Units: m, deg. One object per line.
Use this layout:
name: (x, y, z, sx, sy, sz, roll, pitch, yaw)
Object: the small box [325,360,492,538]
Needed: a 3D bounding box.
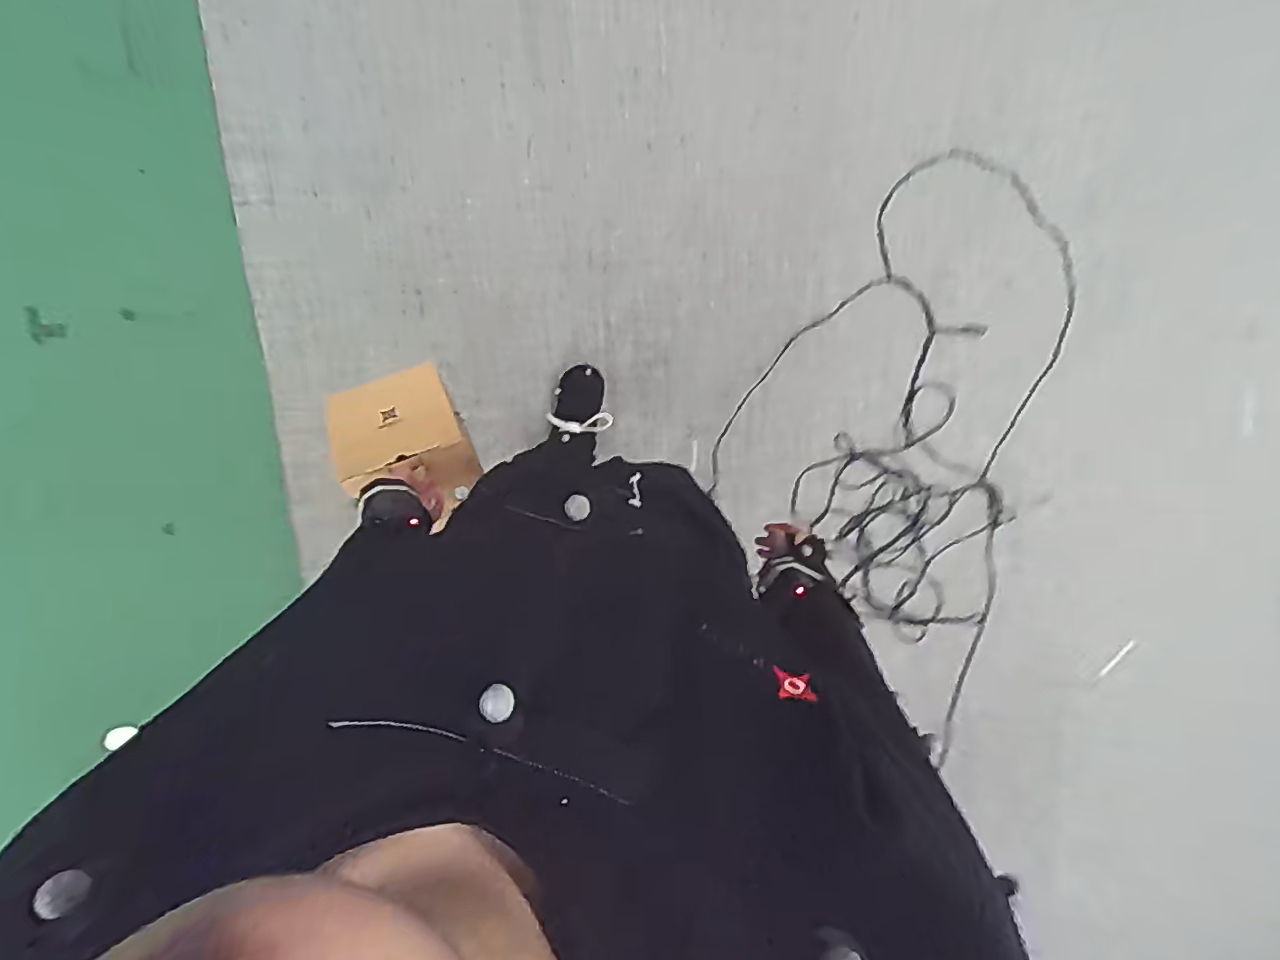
small box: (-0.342, -0.044, 0.815, 0.168, 0.176, 0.179, -23, 57, -12)
